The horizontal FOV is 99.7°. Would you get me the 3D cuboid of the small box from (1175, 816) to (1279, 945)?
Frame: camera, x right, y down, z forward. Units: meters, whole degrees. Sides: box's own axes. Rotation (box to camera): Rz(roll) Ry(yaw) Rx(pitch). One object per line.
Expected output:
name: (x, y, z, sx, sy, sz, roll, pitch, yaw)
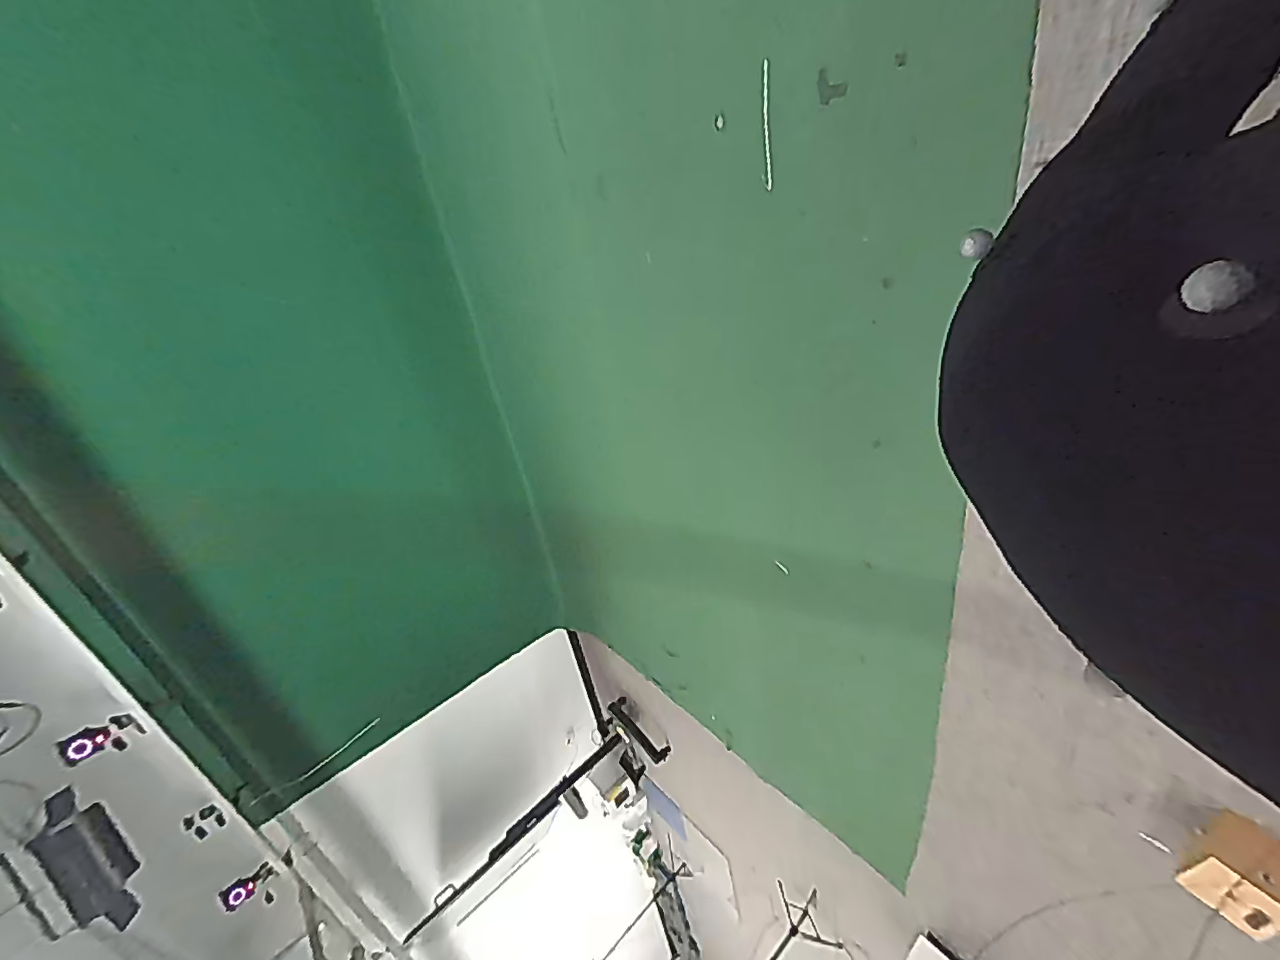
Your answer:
small box: (1.512, 0.993, 1.350, 0.179, 0.176, 0.168, 37, 141, 36)
